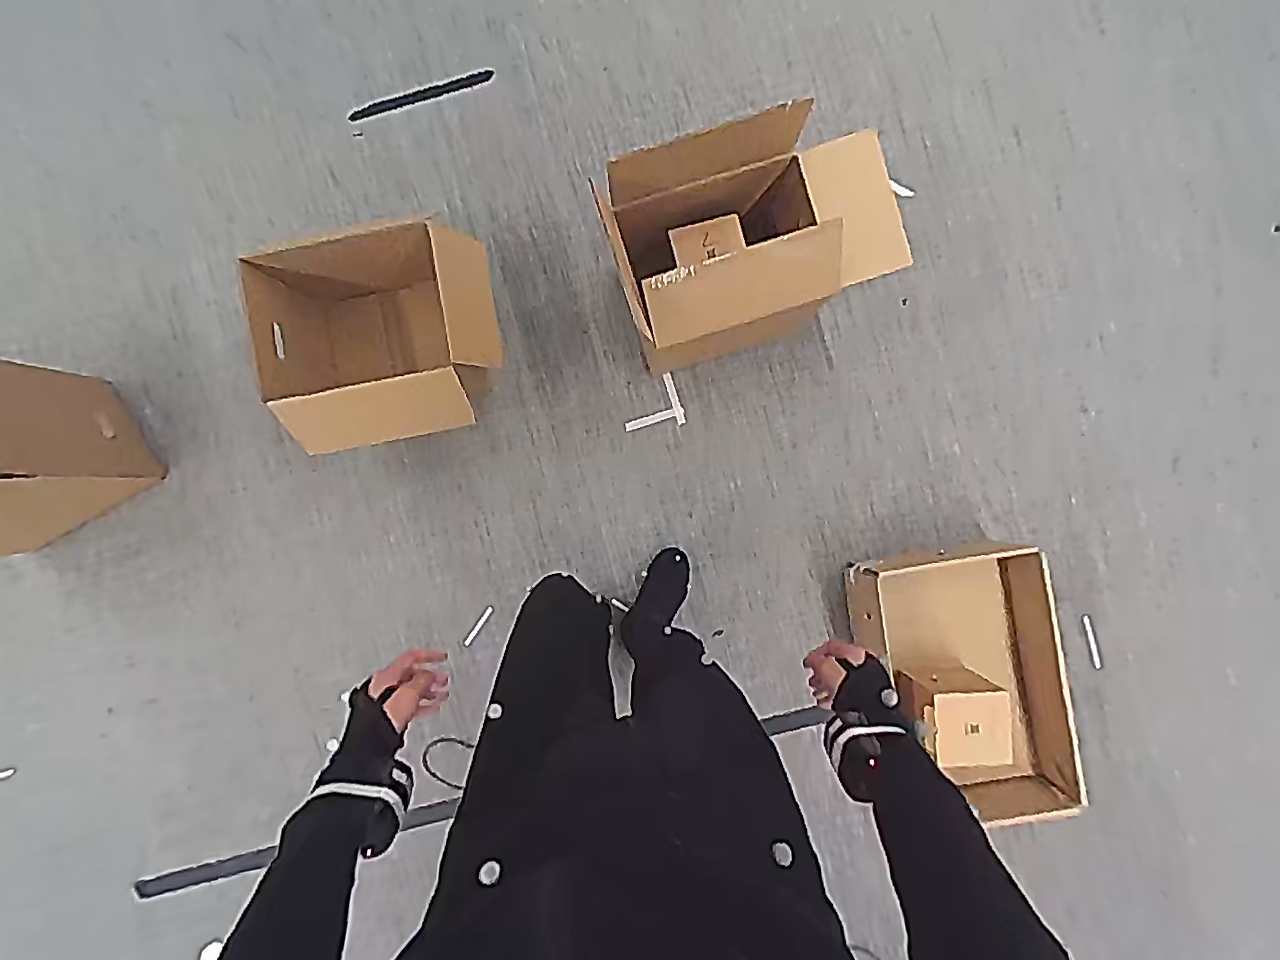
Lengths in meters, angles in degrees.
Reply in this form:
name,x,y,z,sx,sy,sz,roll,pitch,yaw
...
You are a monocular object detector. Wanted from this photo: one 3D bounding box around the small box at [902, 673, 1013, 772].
name,x,y,z,sx,sy,sz,roll,pitch,yaw
small box,0.739,0.565,1.277,0.179,0.176,0.168,-1,89,0
